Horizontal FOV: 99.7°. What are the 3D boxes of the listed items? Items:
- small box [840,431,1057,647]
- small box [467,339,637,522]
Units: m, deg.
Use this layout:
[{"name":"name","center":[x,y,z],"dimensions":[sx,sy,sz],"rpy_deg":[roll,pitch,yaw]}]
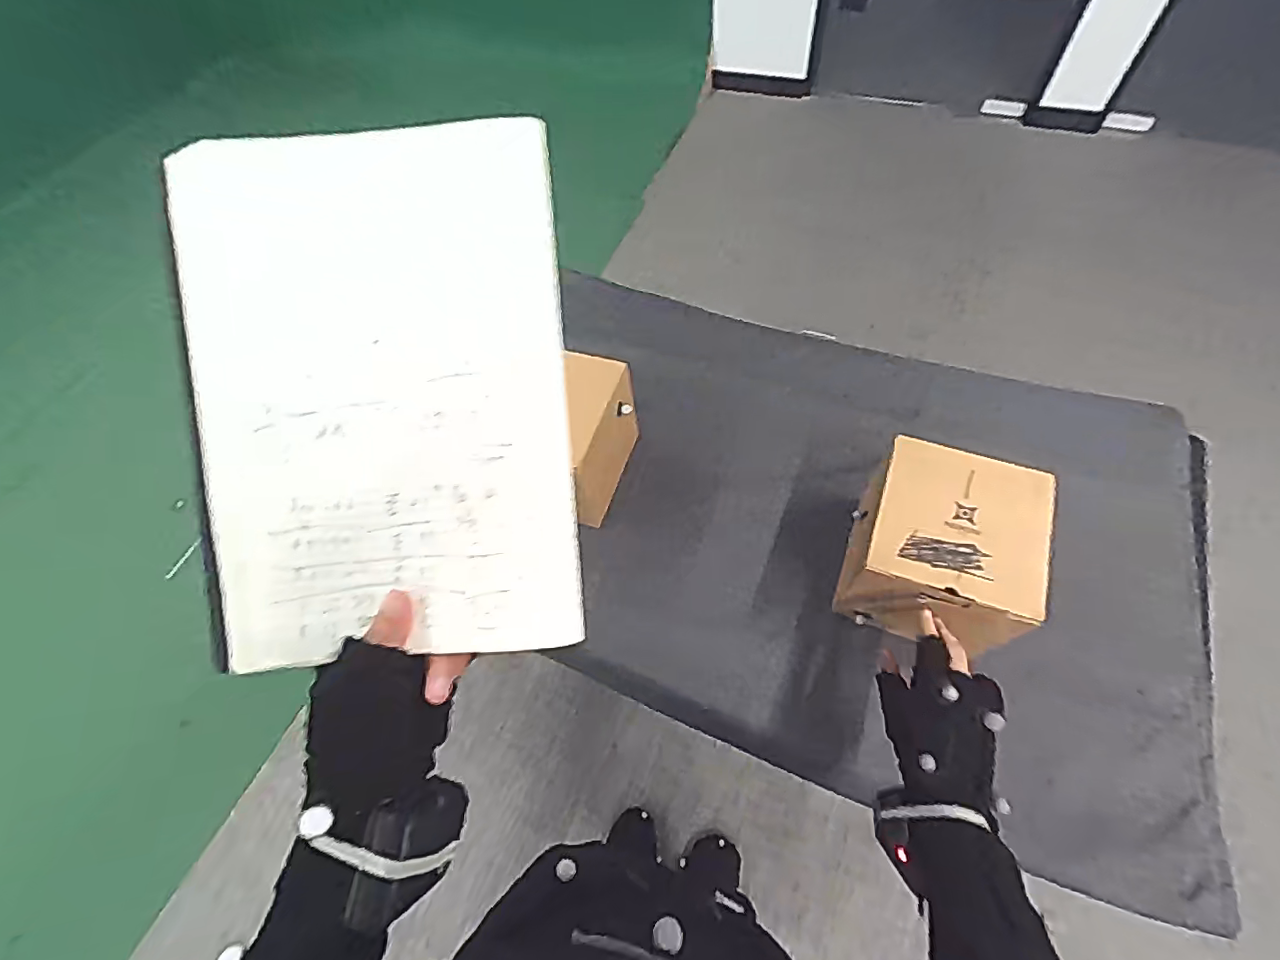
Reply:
[{"name":"small box","center":[0.349,0.076,0.639],"dimensions":[0.168,0.176,0.179],"rpy_deg":[18,64,15]},{"name":"small box","center":[-0.109,-0.066,0.767],"dimensions":[0.168,0.176,0.179],"rpy_deg":[14,63,14]}]
